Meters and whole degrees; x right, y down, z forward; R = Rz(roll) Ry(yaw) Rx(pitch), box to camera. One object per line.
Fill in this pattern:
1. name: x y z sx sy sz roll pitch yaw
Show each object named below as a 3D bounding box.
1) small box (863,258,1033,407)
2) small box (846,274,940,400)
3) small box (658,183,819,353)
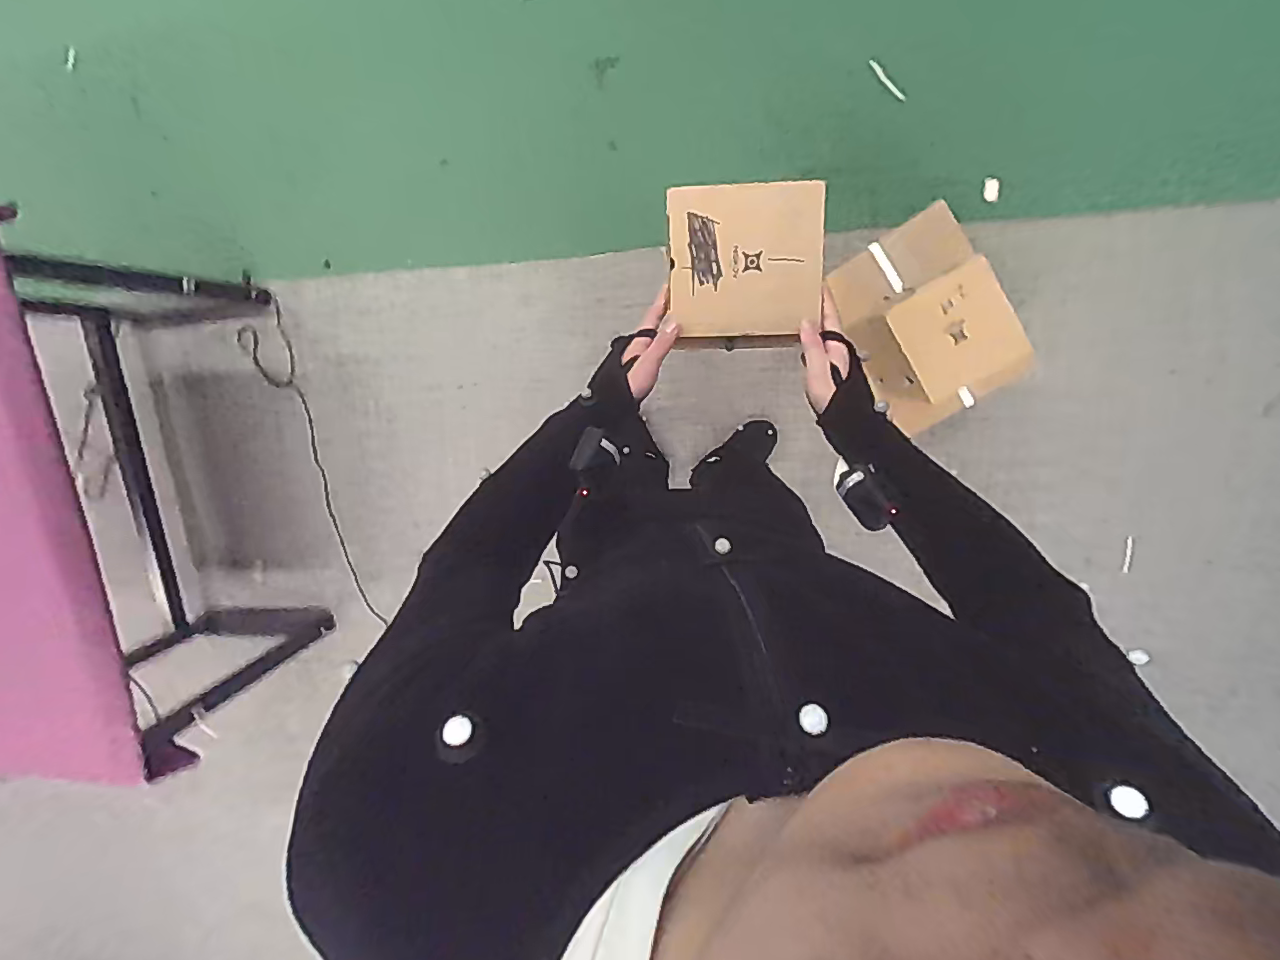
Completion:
1. small box: 0.512 -0.247 0.925 0.168 0.176 0.179 -30 96 14
2. small box: 0.540 -0.282 1.083 0.168 0.176 0.179 -32 95 15
3. small box: 0.116 -0.253 0.683 0.179 0.176 0.168 -1 99 4
